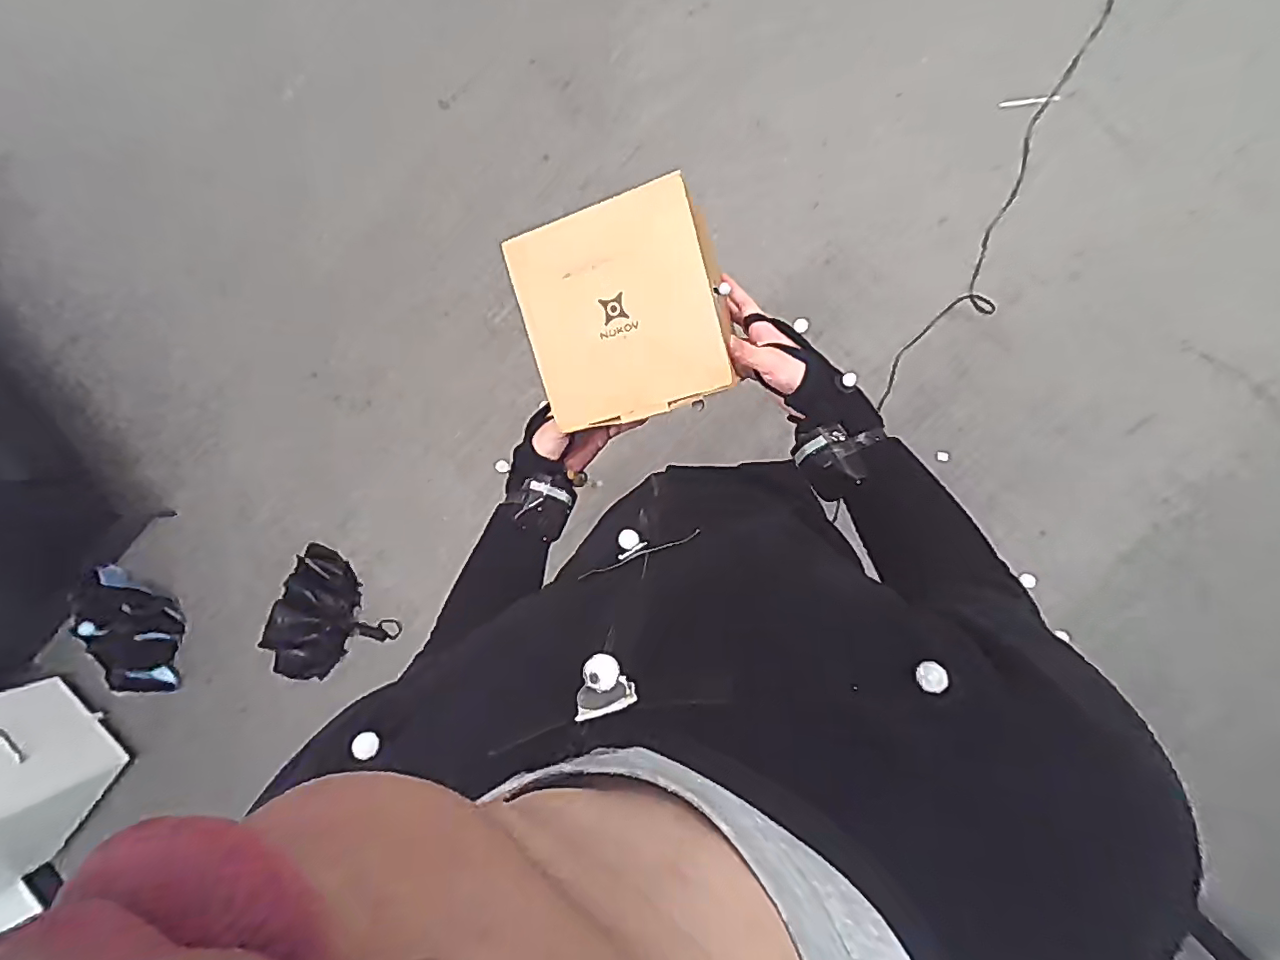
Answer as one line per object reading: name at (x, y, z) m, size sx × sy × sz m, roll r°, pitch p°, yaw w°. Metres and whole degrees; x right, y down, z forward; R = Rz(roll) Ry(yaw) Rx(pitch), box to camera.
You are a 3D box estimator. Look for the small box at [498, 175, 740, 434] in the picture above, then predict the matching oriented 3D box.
small box at (-0.005, -0.158, 0.532) m, size 0.168 × 0.176 × 0.179 m, roll -13°, pitch 98°, yaw 18°
